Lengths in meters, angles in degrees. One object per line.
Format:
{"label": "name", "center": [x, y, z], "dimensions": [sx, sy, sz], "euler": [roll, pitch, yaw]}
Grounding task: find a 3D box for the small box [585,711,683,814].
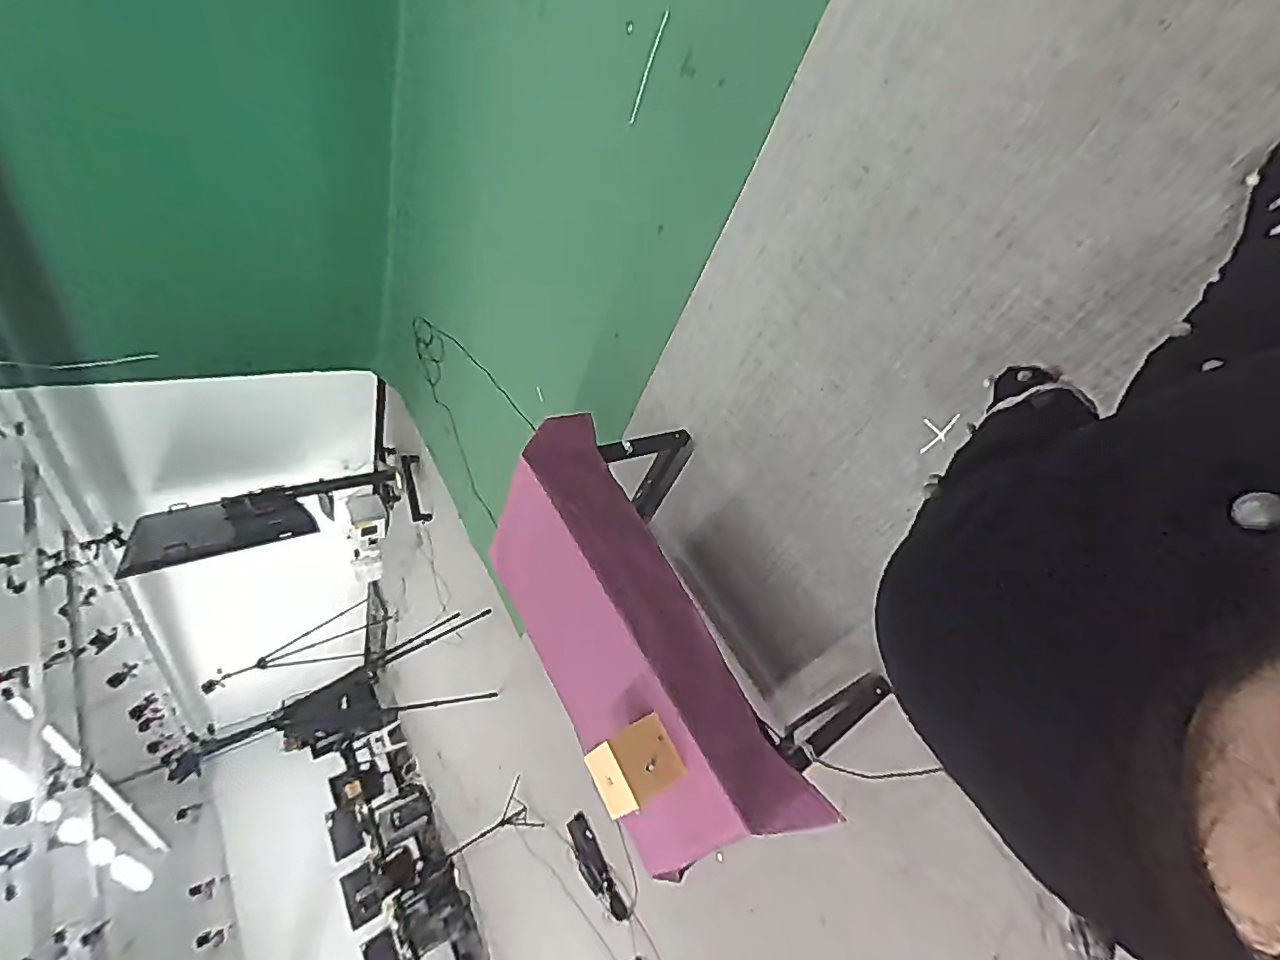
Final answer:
{"label": "small box", "center": [-0.013, 0.729, 1.405], "dimensions": [0.168, 0.176, 0.179], "euler": [58, 140, 23]}
